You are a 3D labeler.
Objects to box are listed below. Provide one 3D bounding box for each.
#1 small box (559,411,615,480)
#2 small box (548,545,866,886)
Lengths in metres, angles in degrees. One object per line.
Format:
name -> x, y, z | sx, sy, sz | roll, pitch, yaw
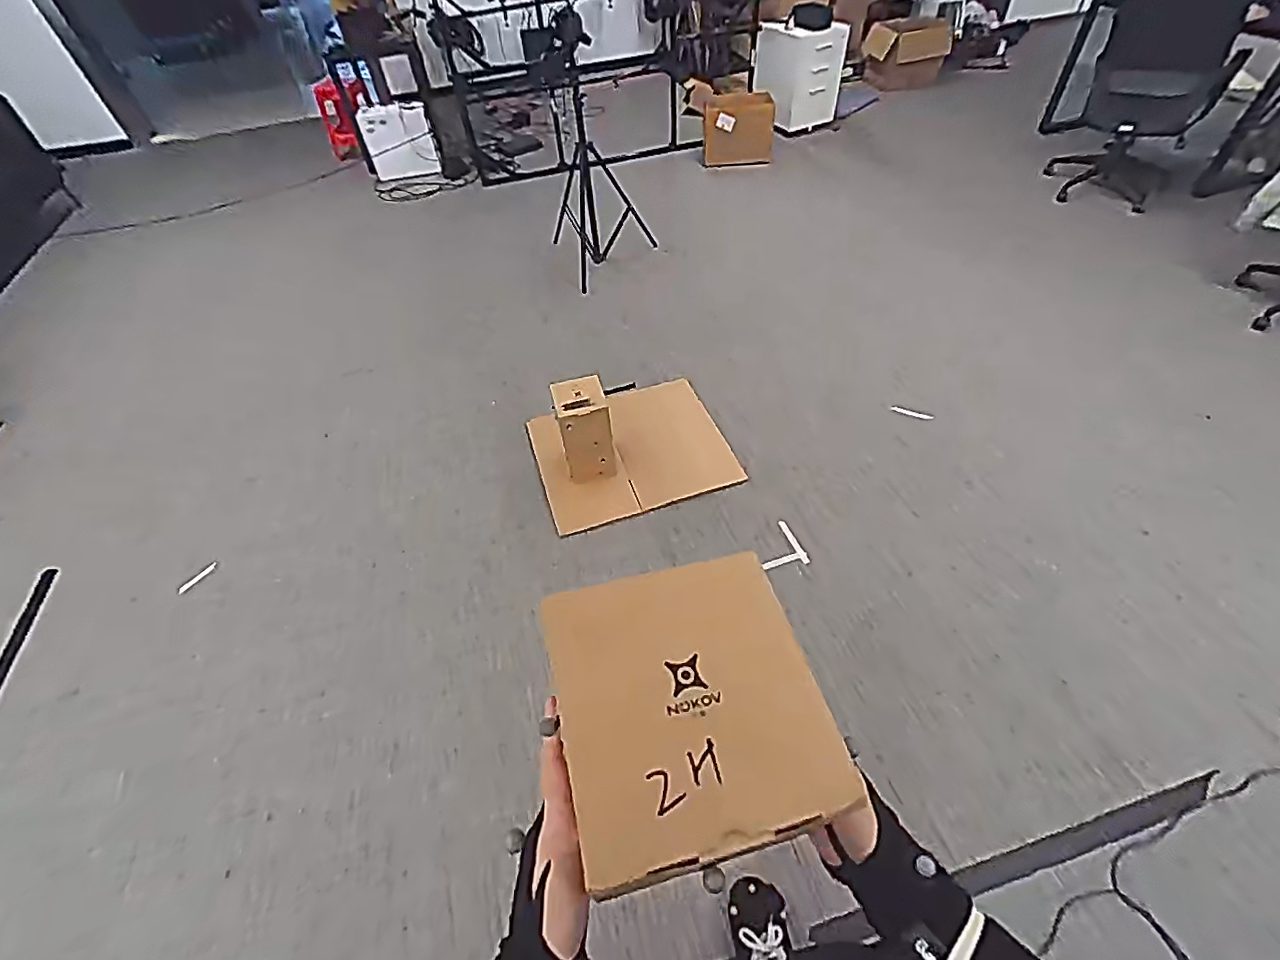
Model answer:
small box -> -0.190, -0.117, 1.954 | 0.168, 0.176, 0.179 | -12, 49, -8
small box -> 0.028, 0.178, 0.409 | 0.168, 0.176, 0.179 | -11, 53, -11
